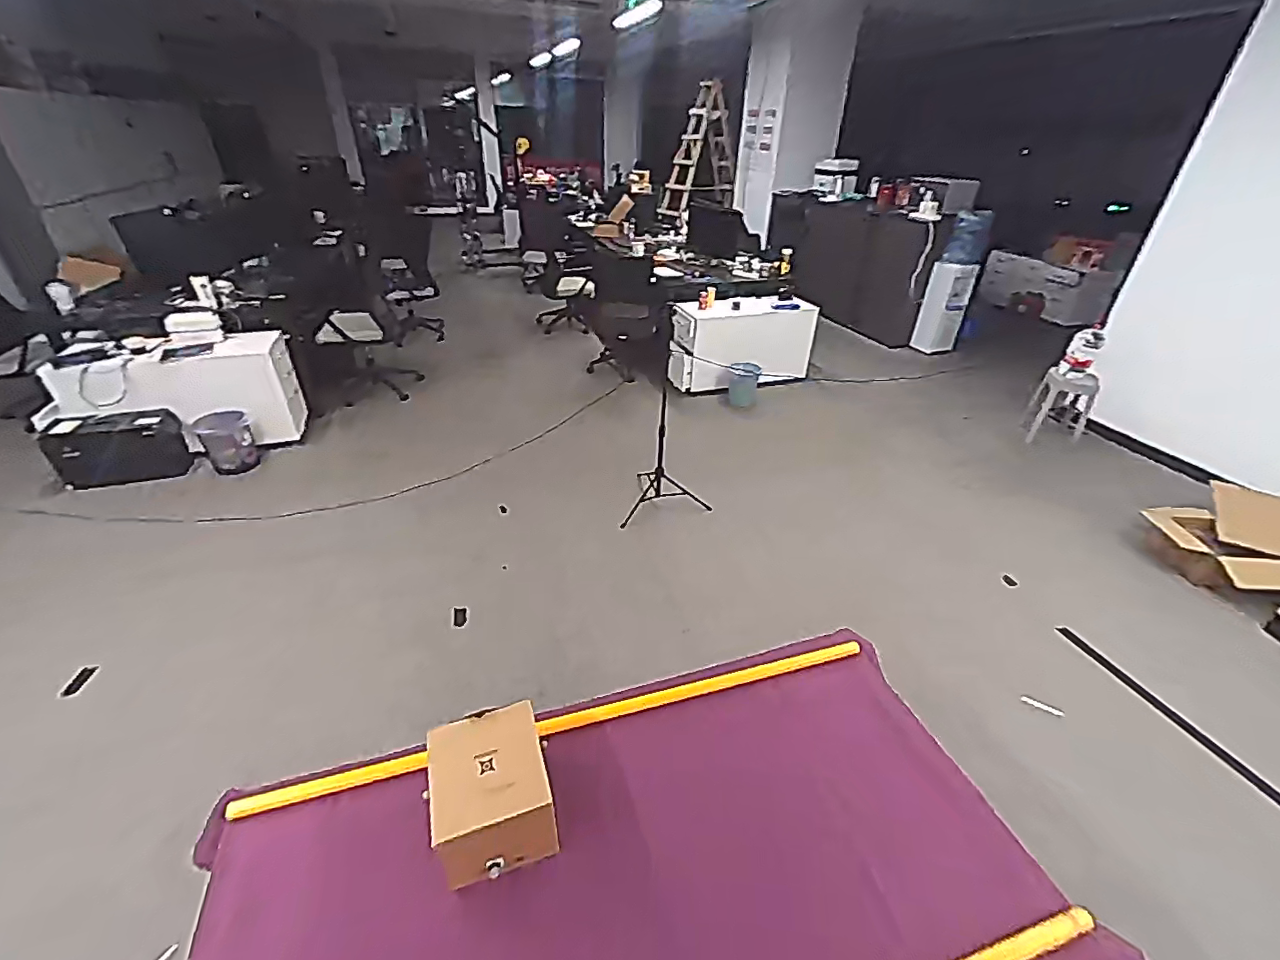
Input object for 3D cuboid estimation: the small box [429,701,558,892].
[{"bbox_3d":[-0.229,0.490,0.847,0.168,0.176,0.179,-11,36,-18],"label":"small box"}]
